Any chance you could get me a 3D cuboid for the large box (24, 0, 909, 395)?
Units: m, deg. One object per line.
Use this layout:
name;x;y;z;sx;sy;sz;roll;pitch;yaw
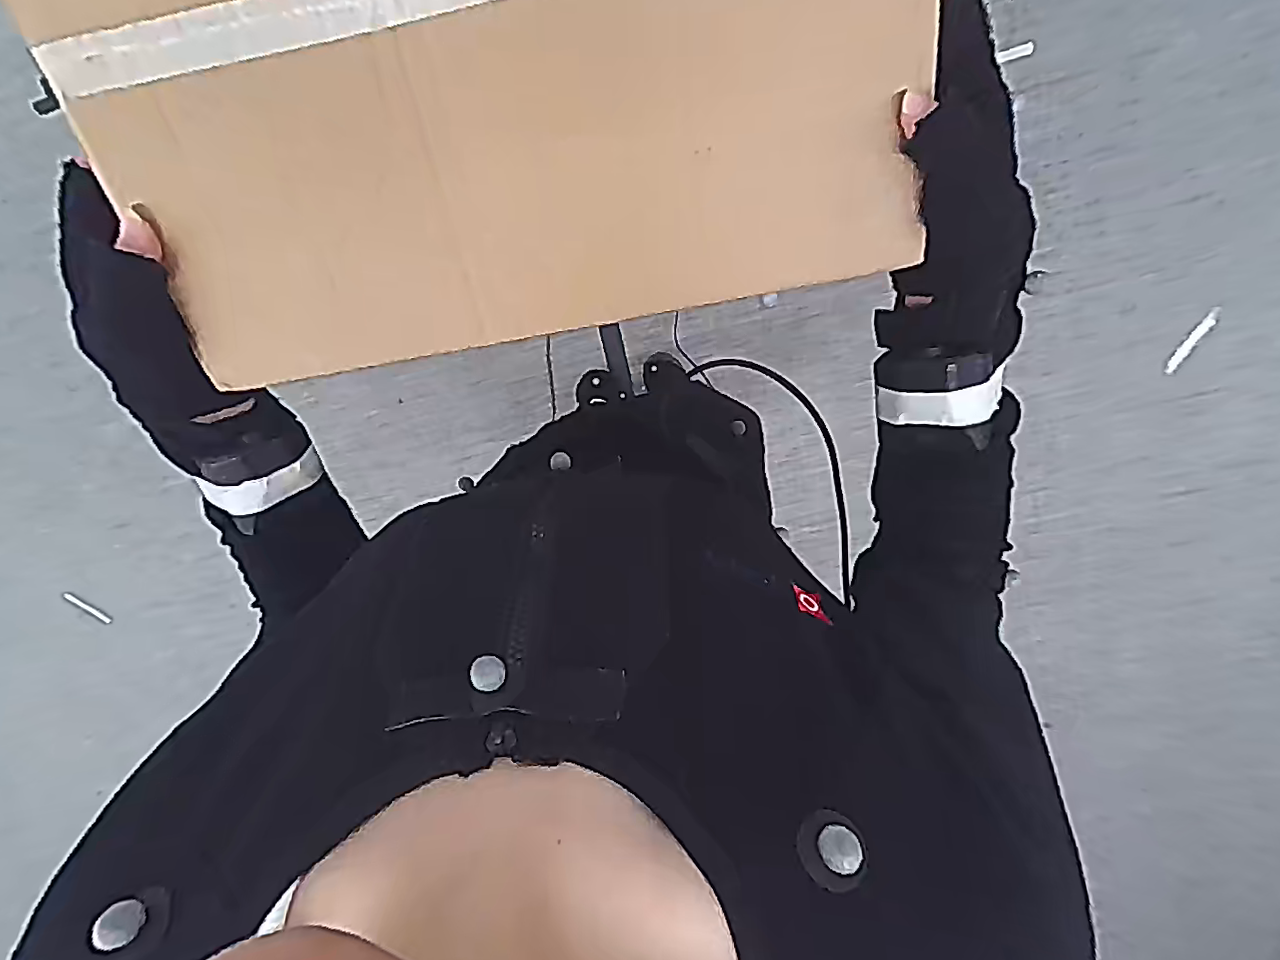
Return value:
large box;-0.076;-0.286;0.380;0.408;0.320;0.320;-9;115;5
